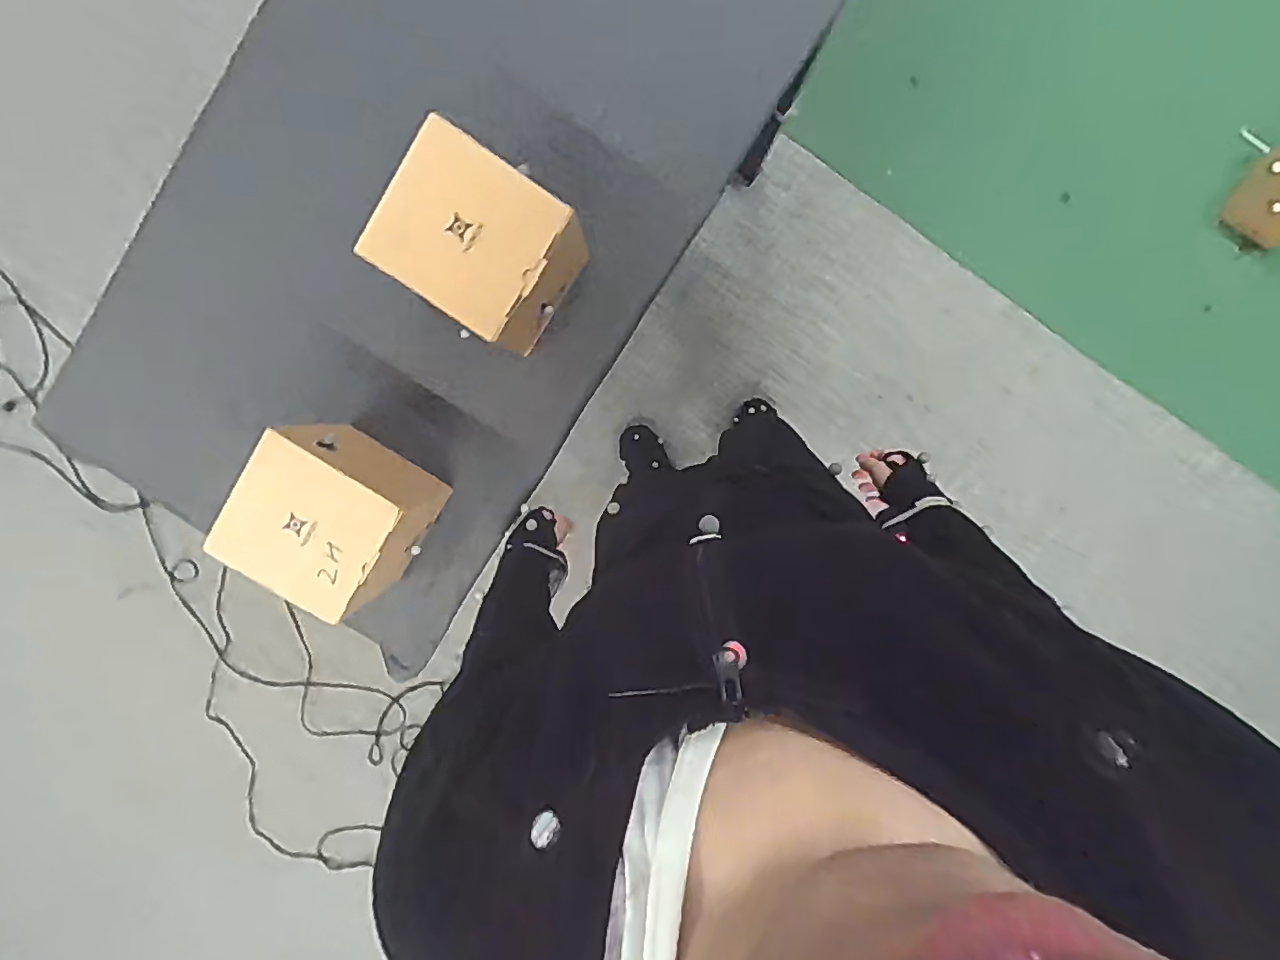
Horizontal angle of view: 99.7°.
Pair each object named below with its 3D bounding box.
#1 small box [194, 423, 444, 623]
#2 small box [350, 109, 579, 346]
[{"bbox_3d":[-0.385,0.043,0.681,0.179,0.176,0.168,32,96,-4],"label":"small box"},{"bbox_3d":[-0.191,-0.276,0.643,0.179,0.176,0.168,33,96,-5],"label":"small box"}]
